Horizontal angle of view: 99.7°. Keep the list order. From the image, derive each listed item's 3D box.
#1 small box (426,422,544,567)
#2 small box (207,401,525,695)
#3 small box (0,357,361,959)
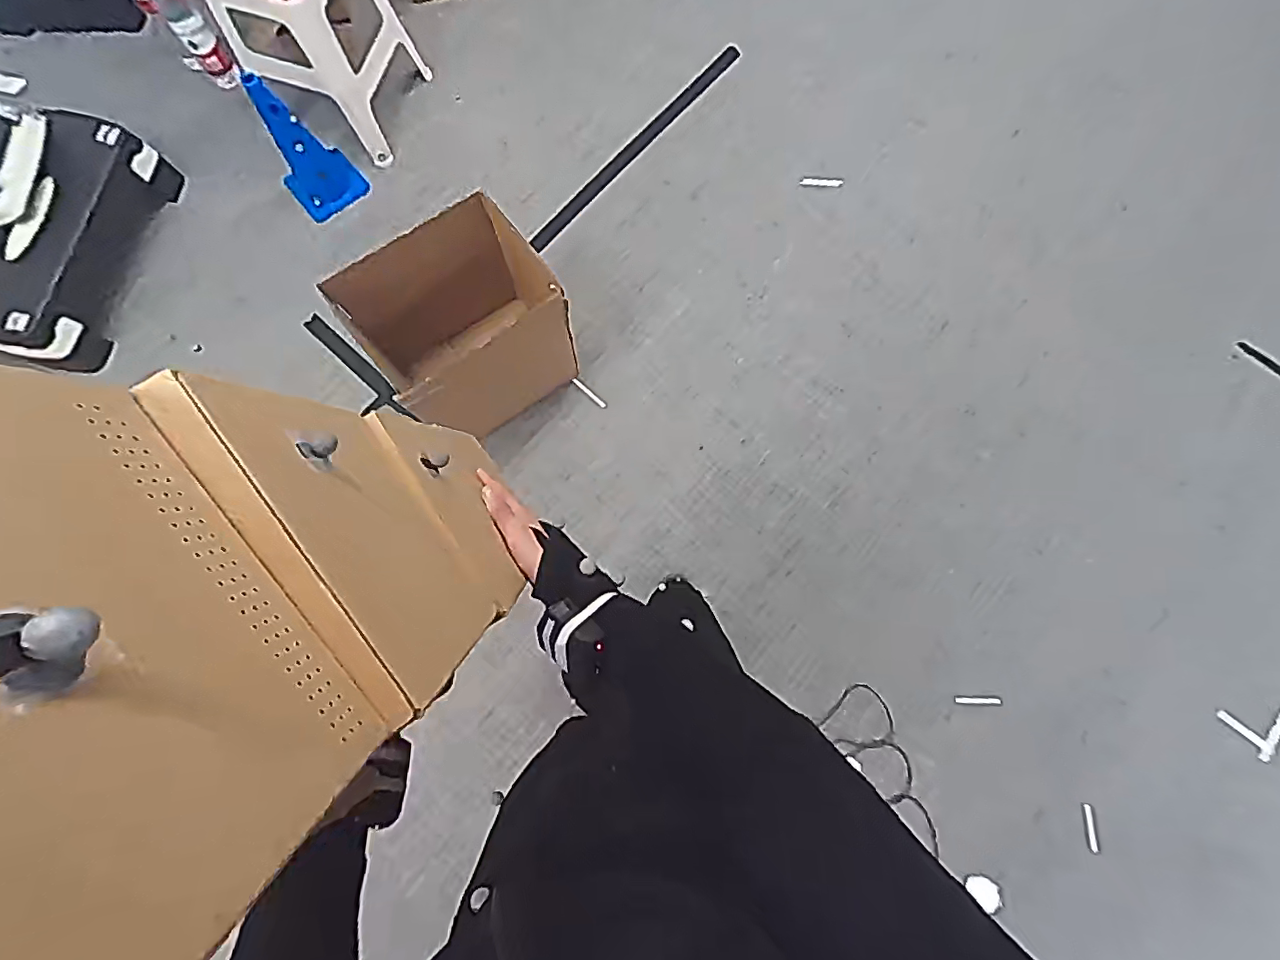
[{"bbox_3d":[-0.227,0.053,0.619,0.168,0.176,0.179,-35,93,-3],"label":"small box"},{"bbox_3d":[-0.217,0.058,0.455,0.168,0.176,0.179,-31,93,-3],"label":"small box"},{"bbox_3d":[-0.212,0.071,0.125,0.168,0.176,0.179,-36,93,-3],"label":"small box"}]
